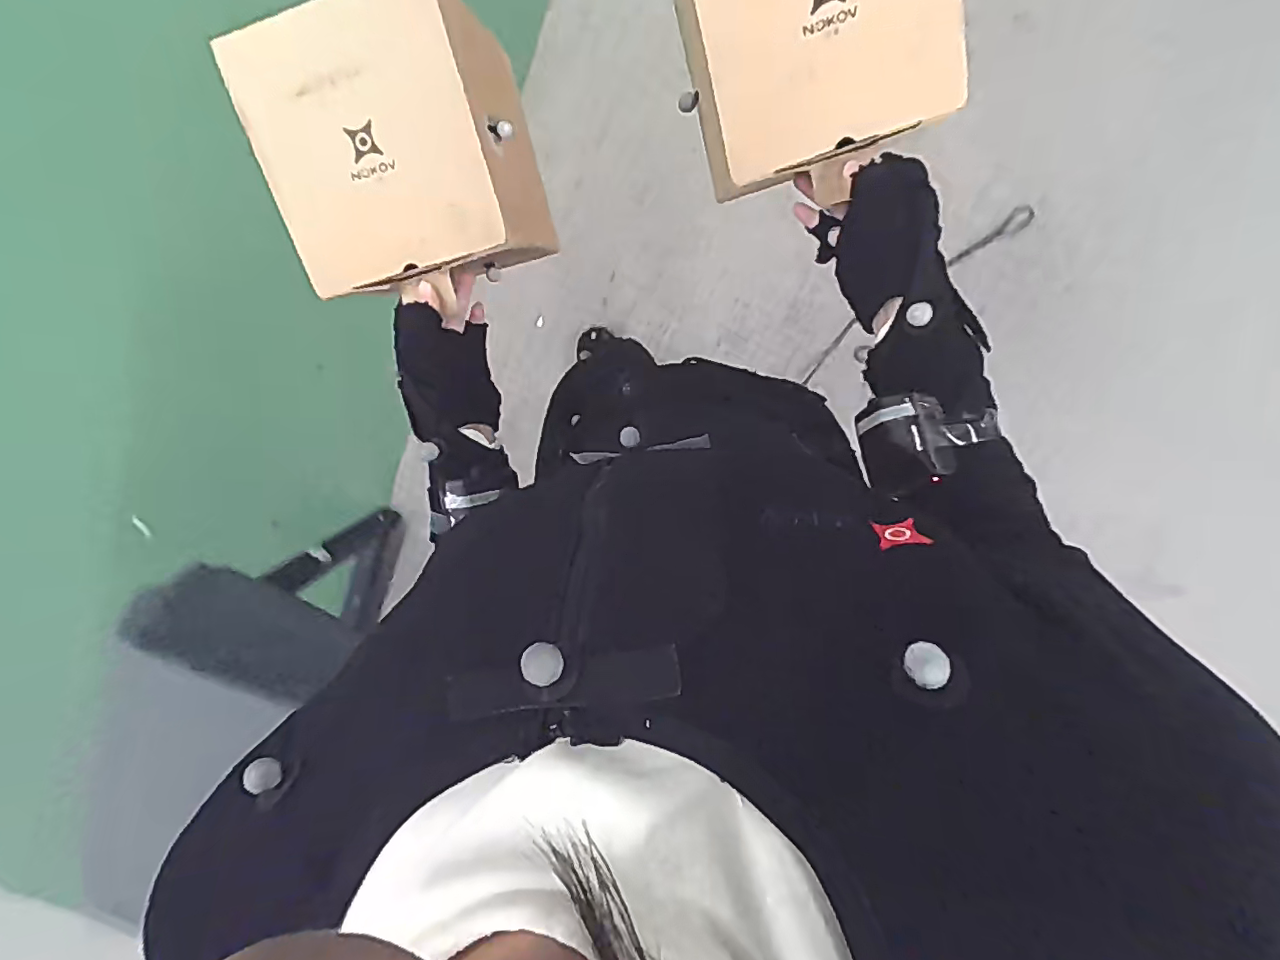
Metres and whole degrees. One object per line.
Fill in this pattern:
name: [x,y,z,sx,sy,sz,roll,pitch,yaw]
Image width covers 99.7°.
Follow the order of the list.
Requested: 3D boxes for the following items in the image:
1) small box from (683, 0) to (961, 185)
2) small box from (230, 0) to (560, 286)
small box: [0.131,-0.350,0.430,0.168,0.176,0.179,-13,113,9]
small box: [-0.181,-0.279,0.465,0.168,0.176,0.179,-11,110,10]
